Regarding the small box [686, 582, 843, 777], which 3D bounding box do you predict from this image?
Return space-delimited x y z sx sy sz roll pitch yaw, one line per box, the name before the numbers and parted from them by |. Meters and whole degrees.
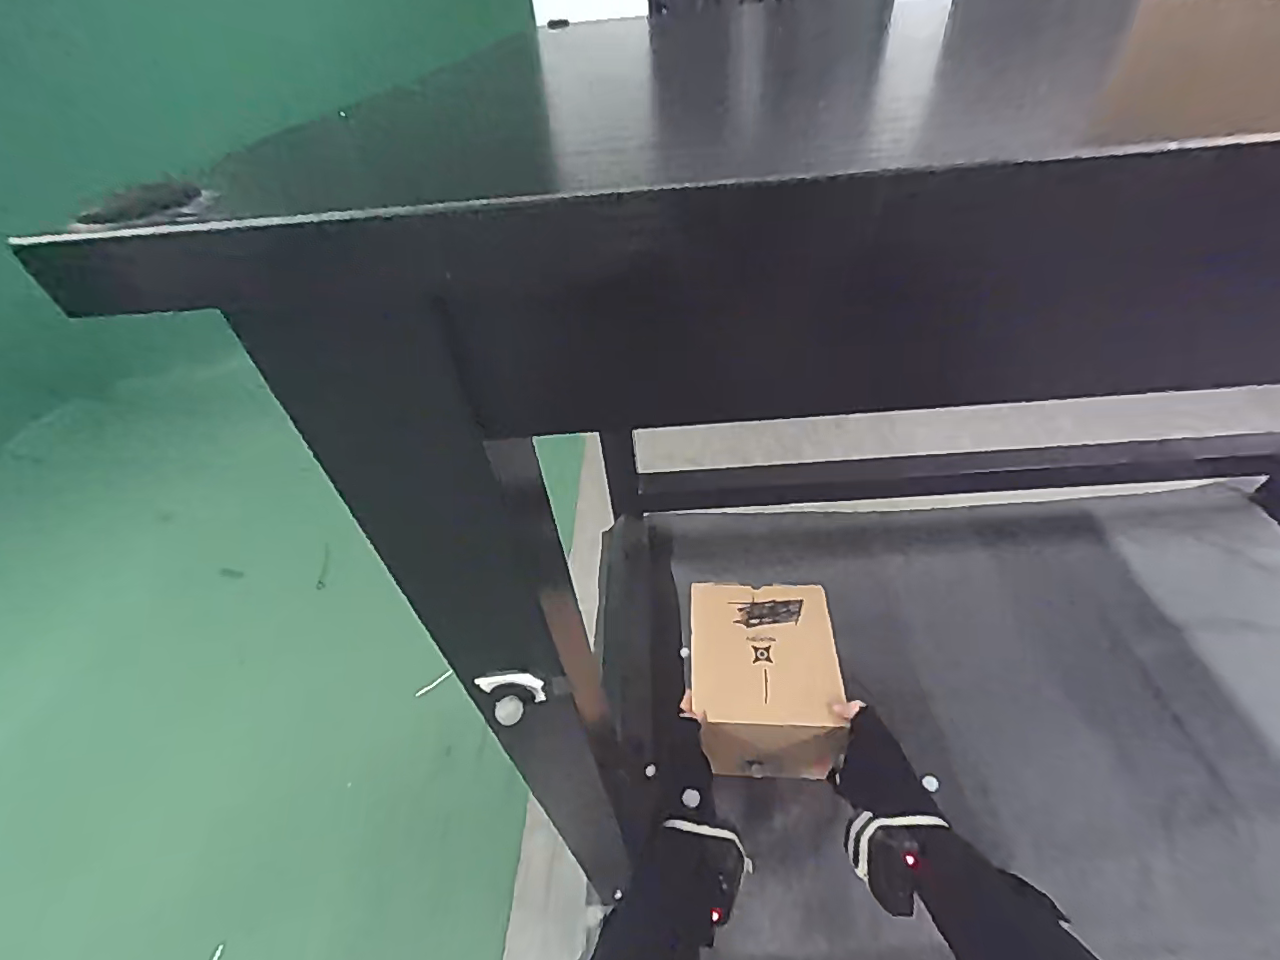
small box | 0.143 0.251 0.687 0.168 0.176 0.179 0 45 6
